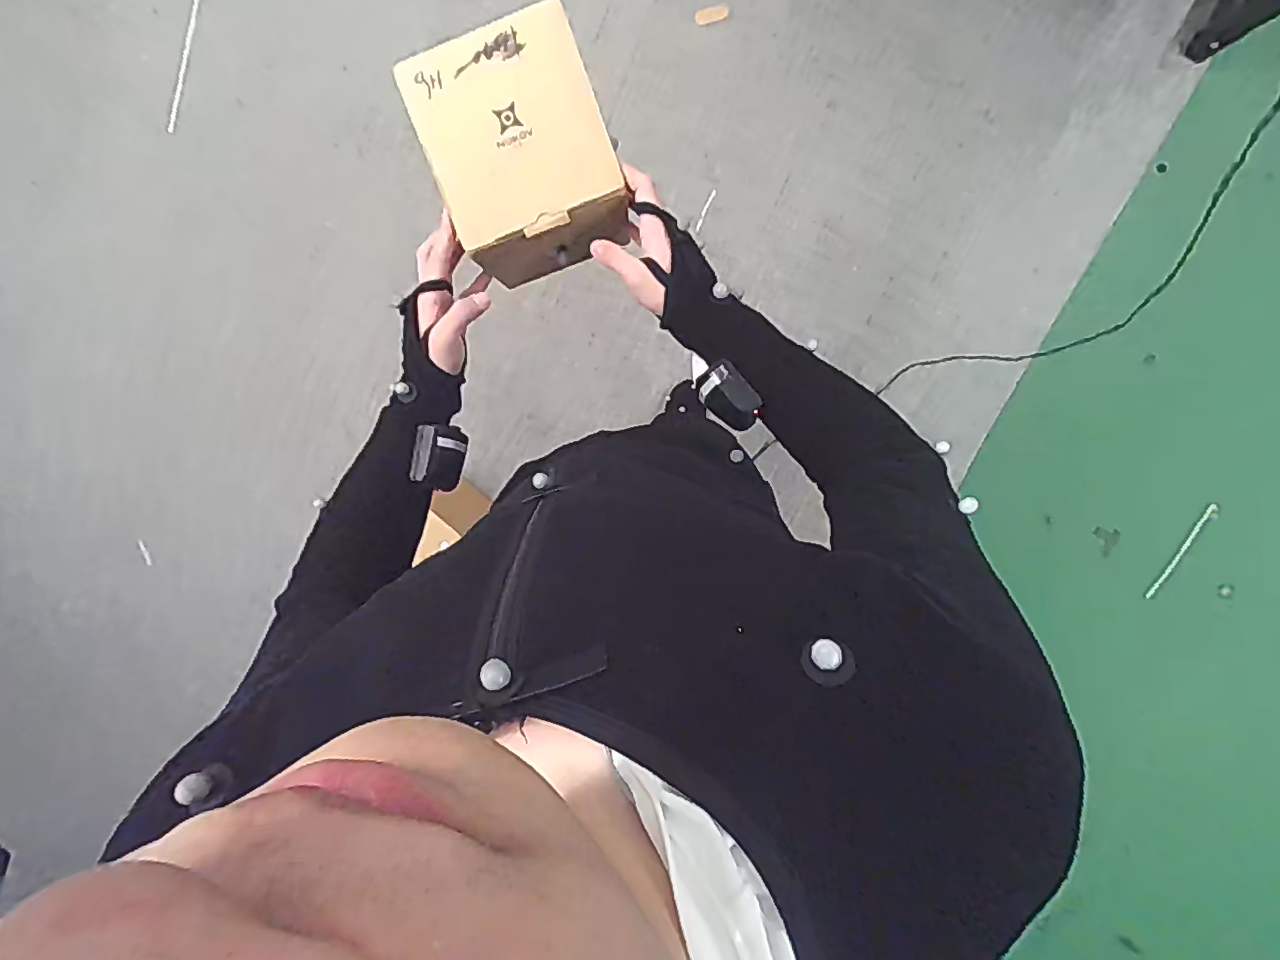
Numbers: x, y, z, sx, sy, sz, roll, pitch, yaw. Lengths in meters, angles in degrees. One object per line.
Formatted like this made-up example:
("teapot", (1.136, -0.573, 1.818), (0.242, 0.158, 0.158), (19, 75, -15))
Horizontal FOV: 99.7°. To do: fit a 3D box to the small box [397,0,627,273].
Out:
("small box", (-0.114, -0.335, 0.570), (0.168, 0.176, 0.179), (-19, 99, 2))
